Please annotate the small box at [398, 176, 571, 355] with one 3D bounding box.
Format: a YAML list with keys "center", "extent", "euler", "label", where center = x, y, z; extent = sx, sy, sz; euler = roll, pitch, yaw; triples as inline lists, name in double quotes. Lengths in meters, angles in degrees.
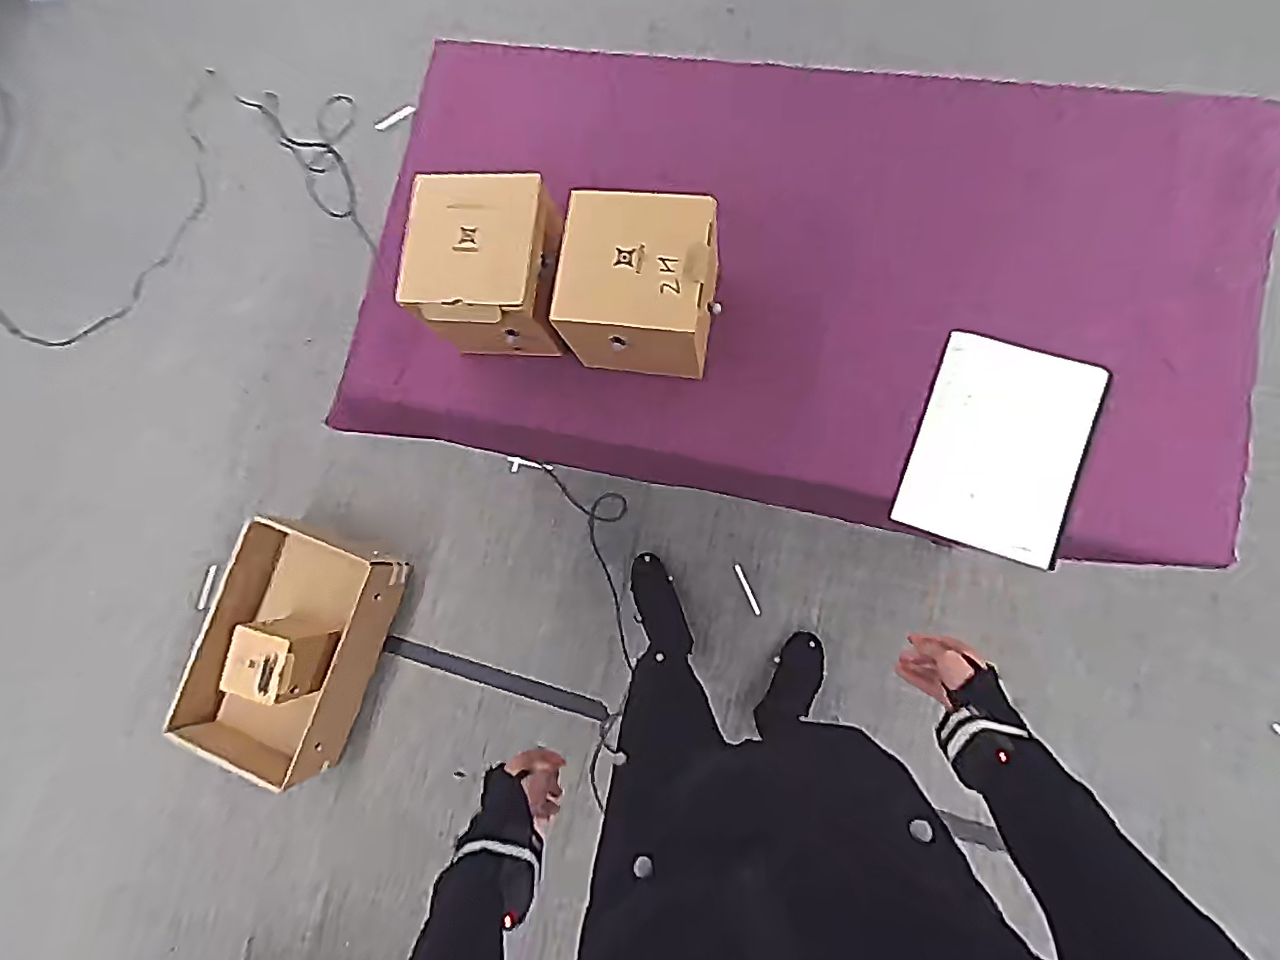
- center: [-0.199, -0.281, 0.741]
  extent: [0.168, 0.176, 0.179]
  euler: [4, 83, 9]
  label: "small box"
